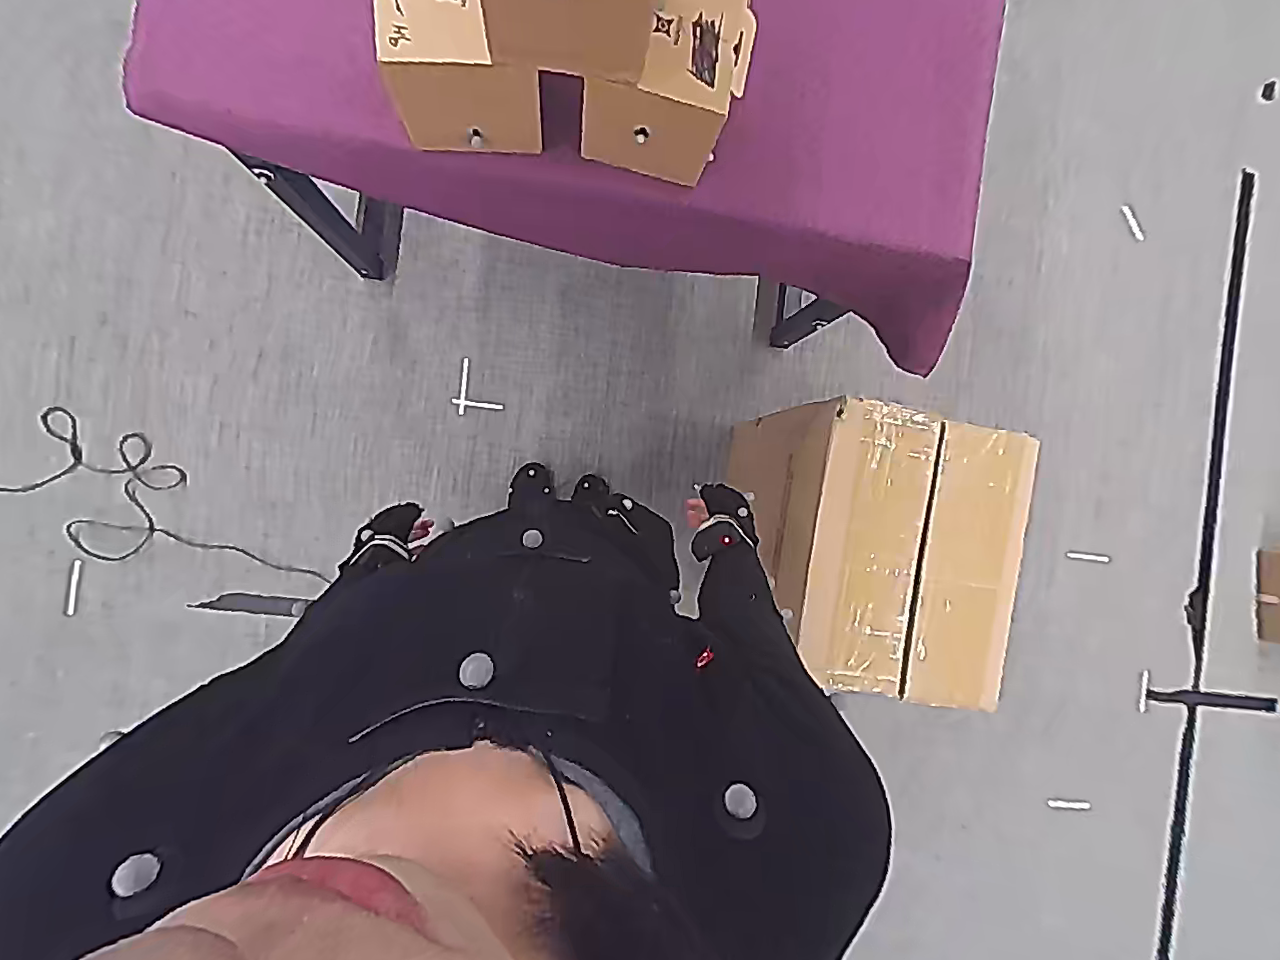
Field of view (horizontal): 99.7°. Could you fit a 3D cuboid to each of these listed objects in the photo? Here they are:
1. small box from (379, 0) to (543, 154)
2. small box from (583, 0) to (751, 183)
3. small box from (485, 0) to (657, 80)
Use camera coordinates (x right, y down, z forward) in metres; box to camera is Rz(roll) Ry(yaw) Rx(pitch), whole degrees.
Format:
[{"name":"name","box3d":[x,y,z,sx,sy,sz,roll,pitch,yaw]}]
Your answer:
[{"name":"small box","box3d":[-0.216,-0.544,0.686,0.179,0.176,0.168,-3,90,-9]},{"name":"small box","box3d":[0.026,-0.530,0.719,0.179,0.176,0.168,11,88,-7]},{"name":"small box","box3d":[-0.065,-0.547,0.542,0.179,0.176,0.168,3,91,-9]}]
